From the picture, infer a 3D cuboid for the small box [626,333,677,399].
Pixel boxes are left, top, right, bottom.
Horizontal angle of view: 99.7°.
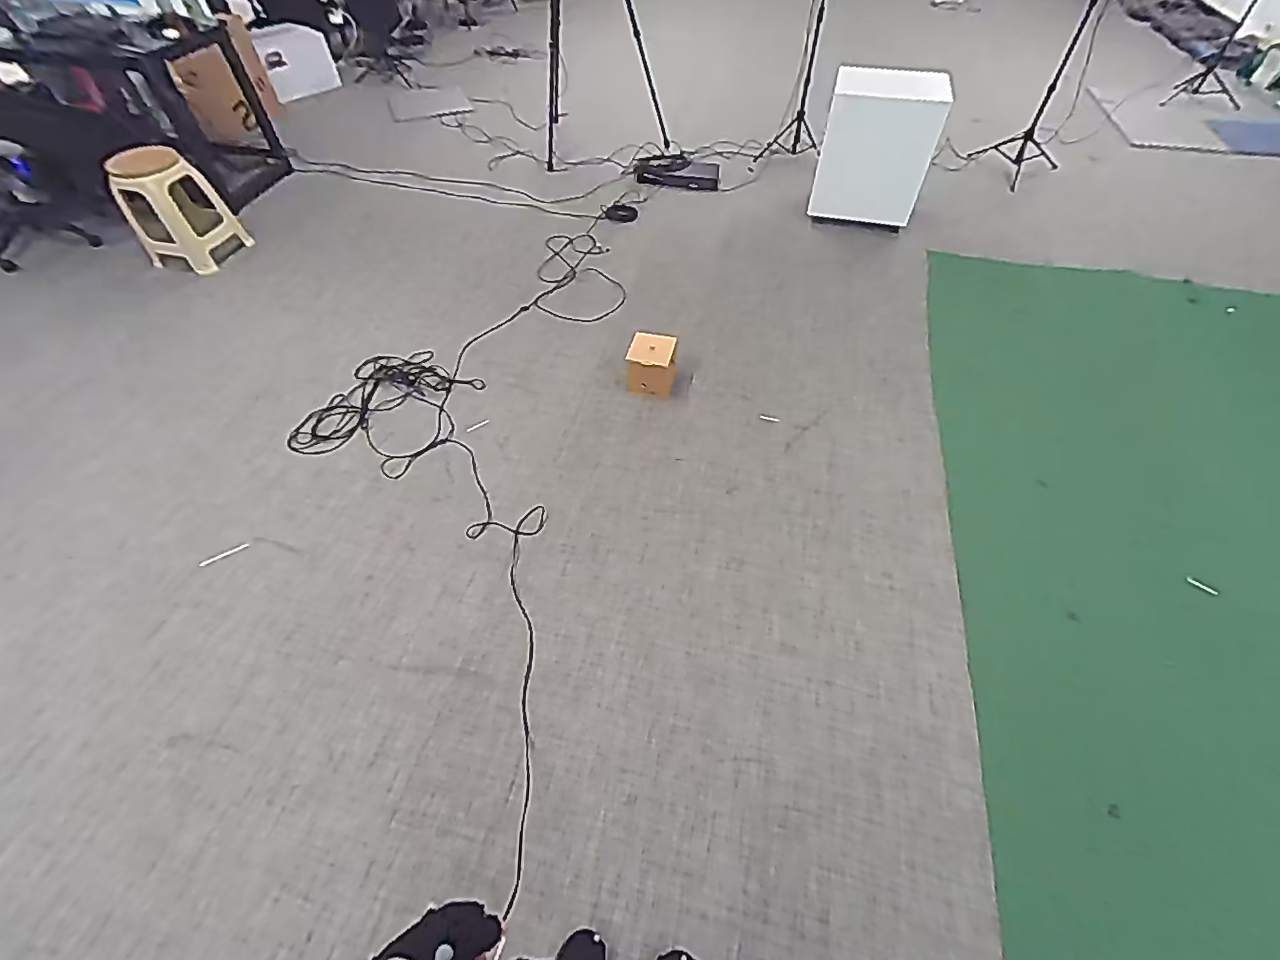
[{"bbox_3d":[0.045,-0.446,2.112,0.168,0.176,0.179,10,53,10],"label":"small box"}]
